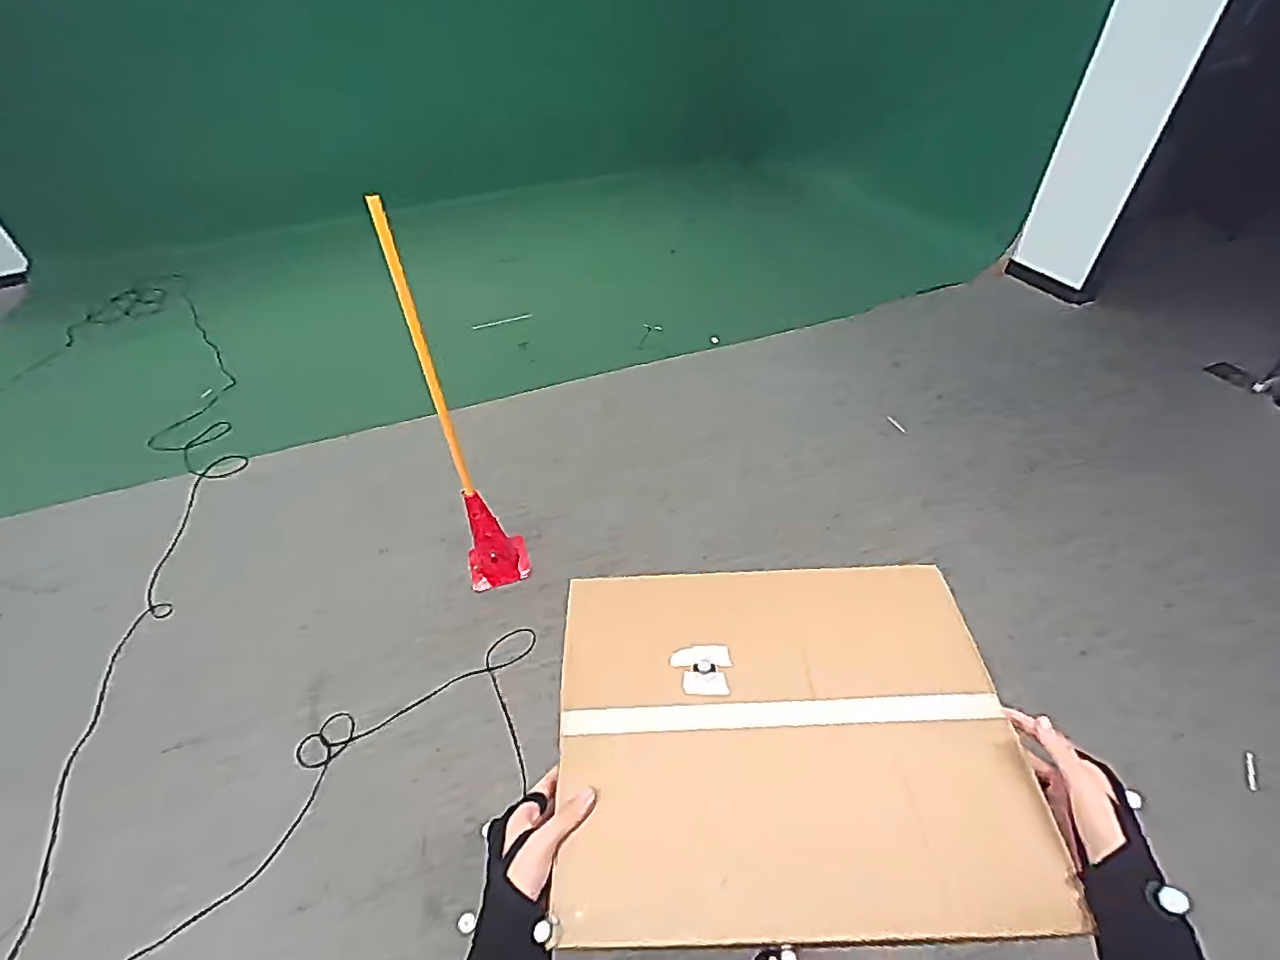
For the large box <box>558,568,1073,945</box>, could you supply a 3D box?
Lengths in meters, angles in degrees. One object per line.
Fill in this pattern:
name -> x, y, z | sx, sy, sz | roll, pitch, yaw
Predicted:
large box -> 0.140, 0.323, 0.622 | 0.408, 0.320, 0.320 | -3, 48, 2
